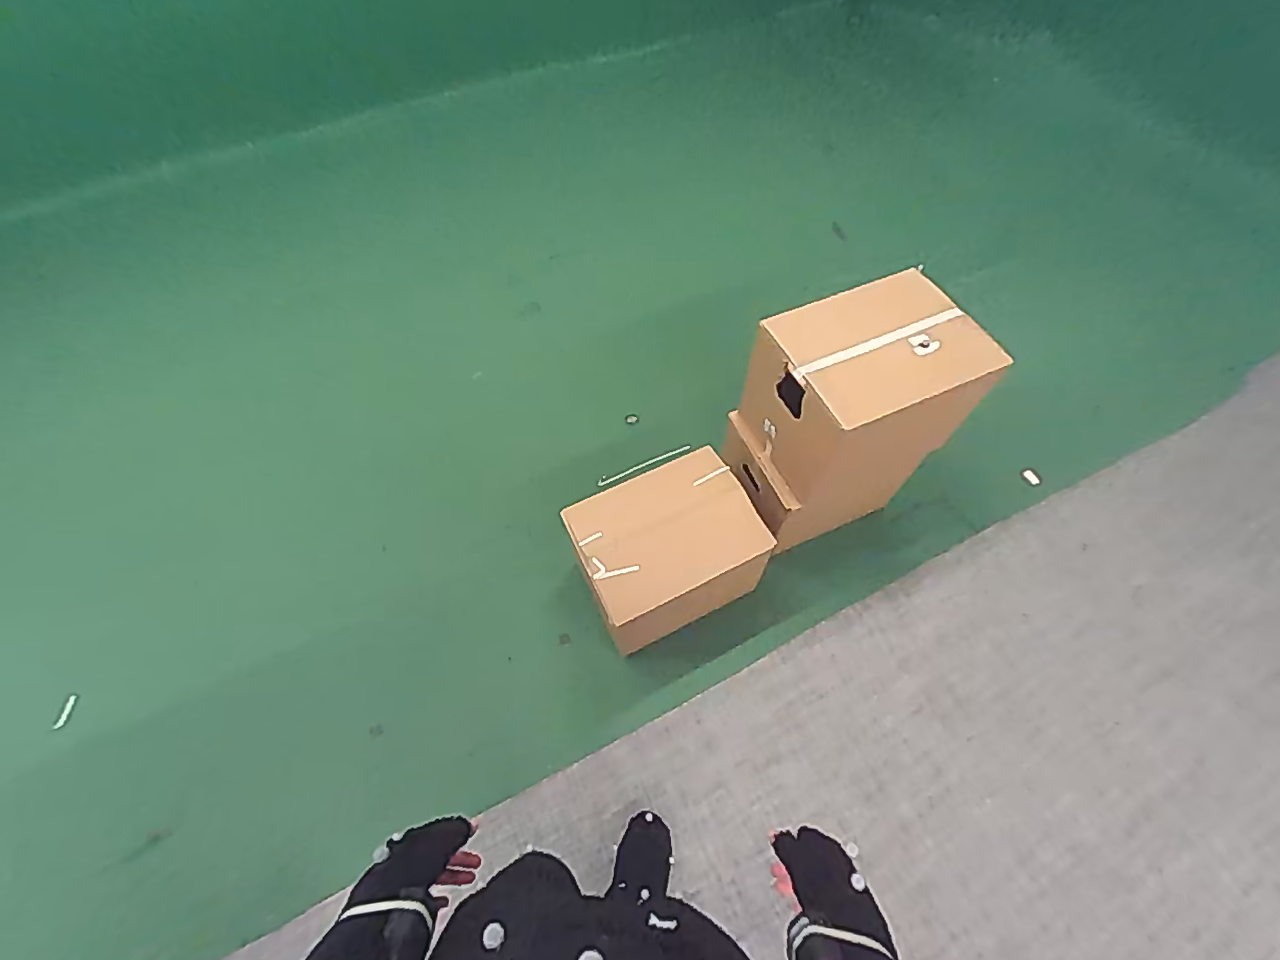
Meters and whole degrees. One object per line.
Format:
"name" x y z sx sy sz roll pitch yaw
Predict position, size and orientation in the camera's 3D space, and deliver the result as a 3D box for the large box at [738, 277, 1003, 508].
"large box" 0.489 -0.195 1.237 0.408 0.320 0.320 -21 63 -12
